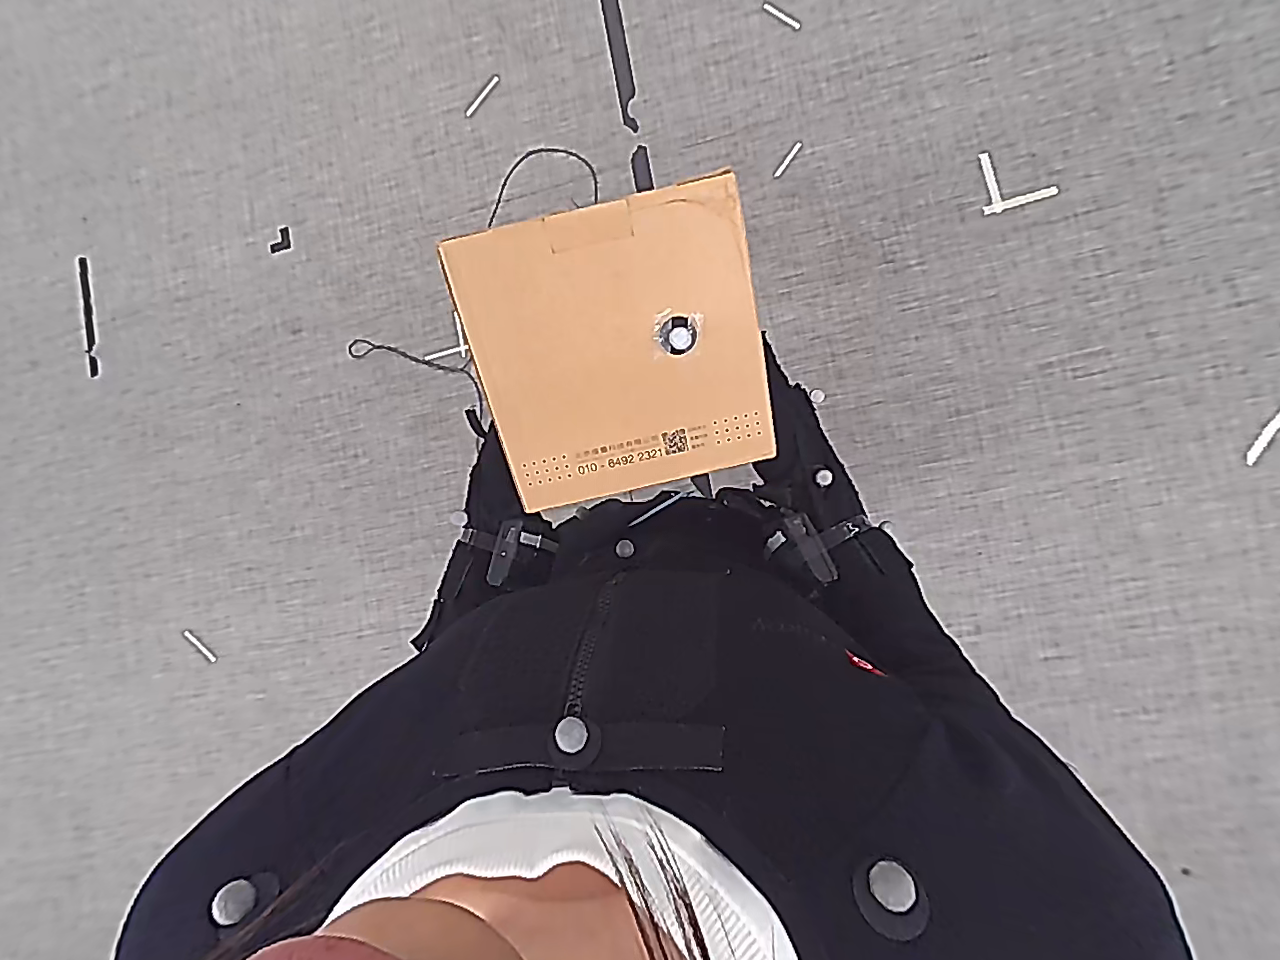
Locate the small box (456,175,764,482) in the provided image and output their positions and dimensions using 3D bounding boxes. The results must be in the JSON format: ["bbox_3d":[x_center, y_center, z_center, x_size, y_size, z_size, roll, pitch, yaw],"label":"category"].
[{"bbox_3d":[-0.012,-0.108,0.410,0.168,0.179,0.176,-12,112,3],"label":"small box"}]
